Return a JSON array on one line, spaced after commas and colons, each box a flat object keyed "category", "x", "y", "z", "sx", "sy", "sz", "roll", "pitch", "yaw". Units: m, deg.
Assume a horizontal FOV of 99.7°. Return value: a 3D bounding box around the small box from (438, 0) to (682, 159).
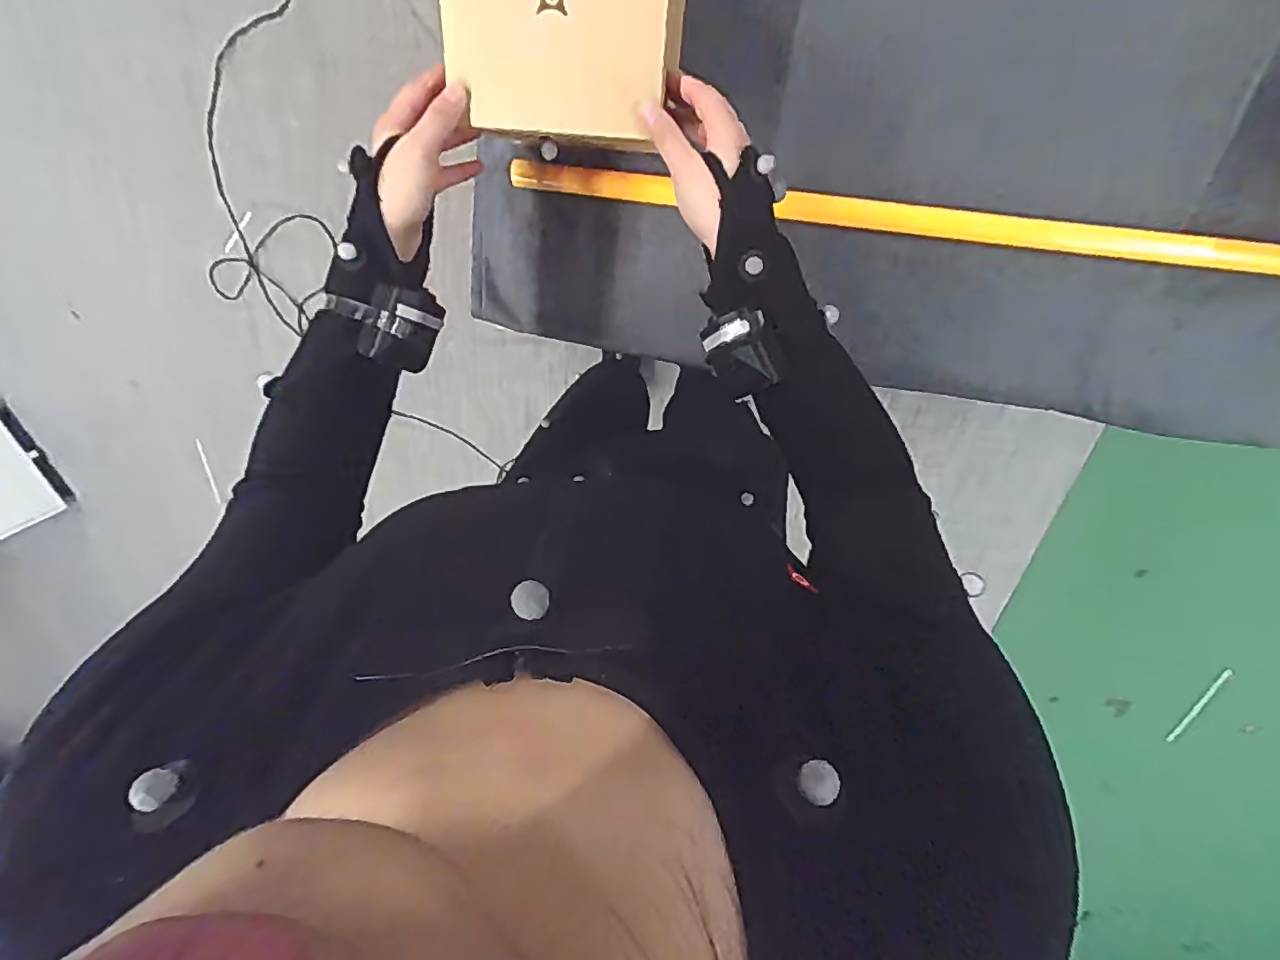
[{"category": "small box", "x": -0.053, "y": -0.376, "z": 0.449, "sx": 0.168, "sy": 0.176, "sz": 0.179, "roll": 6, "pitch": 117, "yaw": 4}]
